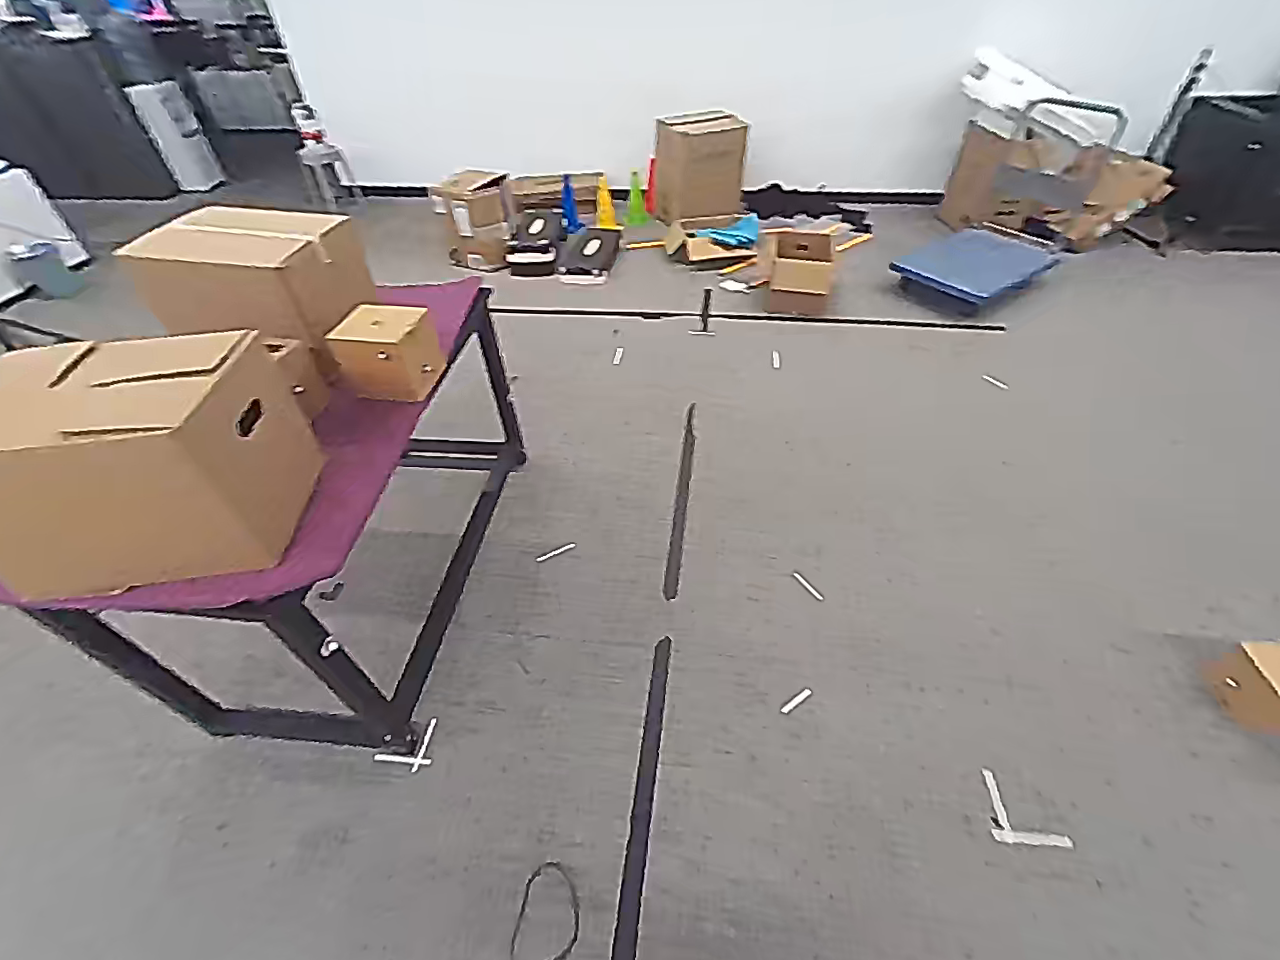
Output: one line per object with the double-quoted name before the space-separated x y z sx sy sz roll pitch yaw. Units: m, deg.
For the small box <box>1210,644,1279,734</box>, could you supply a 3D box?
"small box" 1.666 0.551 1.412 0.179 0.176 0.168 3 45 5
